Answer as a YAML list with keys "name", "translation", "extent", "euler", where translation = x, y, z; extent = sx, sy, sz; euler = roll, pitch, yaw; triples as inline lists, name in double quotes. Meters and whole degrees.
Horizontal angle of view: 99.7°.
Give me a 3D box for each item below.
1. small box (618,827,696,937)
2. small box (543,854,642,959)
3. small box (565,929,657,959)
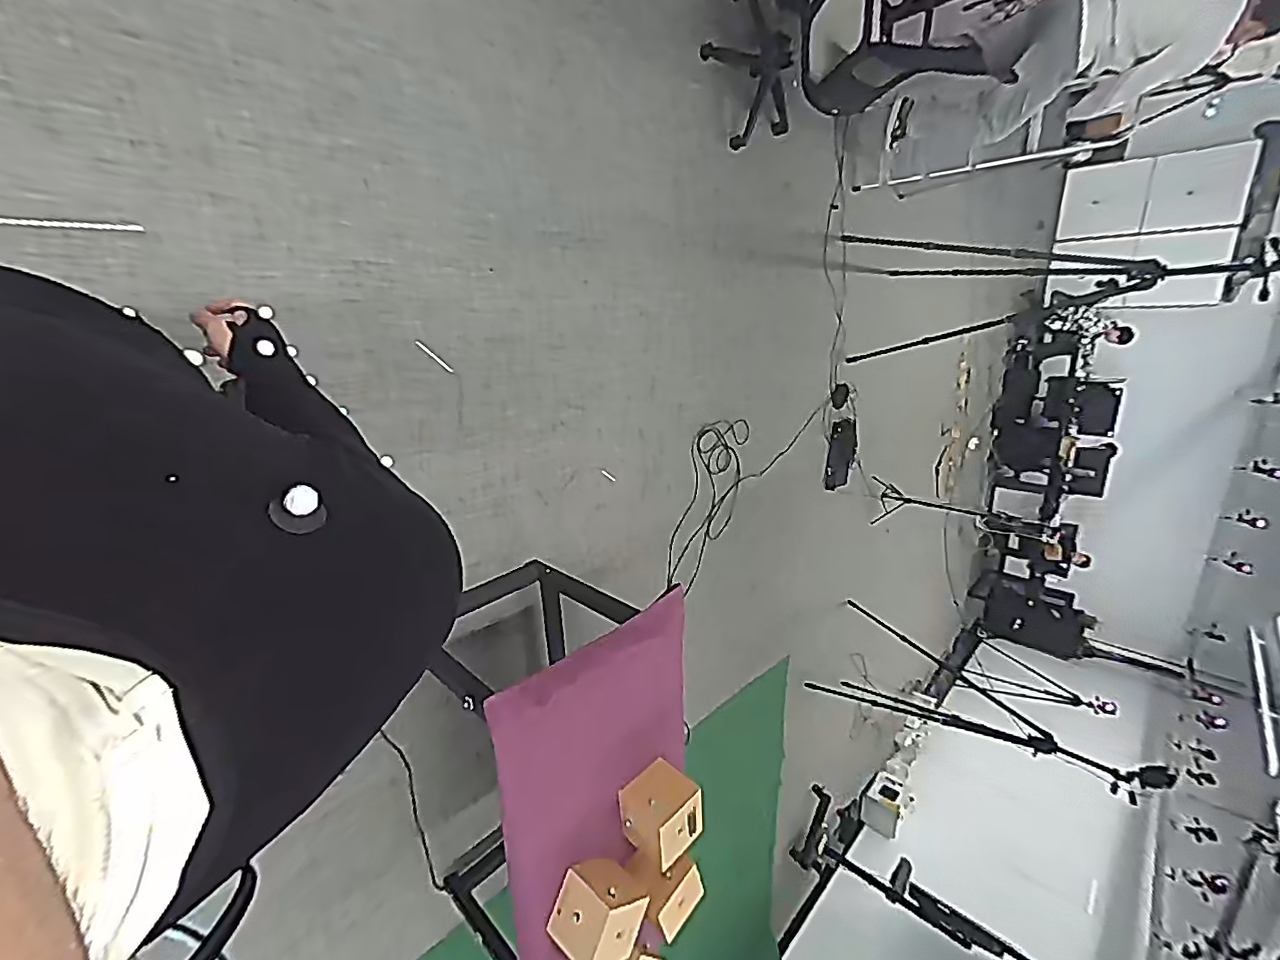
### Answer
- name: "small box"
  translation: [0.043, 1.231, 1.668]
  extent: [0.179, 0.176, 0.168]
  euler: [-35, 124, -35]
- name: "small box"
  translation: [-0.130, 1.150, 1.454]
  extent: [0.179, 0.176, 0.168]
  euler: [31, 78, -48]
- name: "small box"
  translation: [-0.085, 1.403, 1.575]
  extent: [0.168, 0.176, 0.179]
  euler: [-53, 132, -24]
